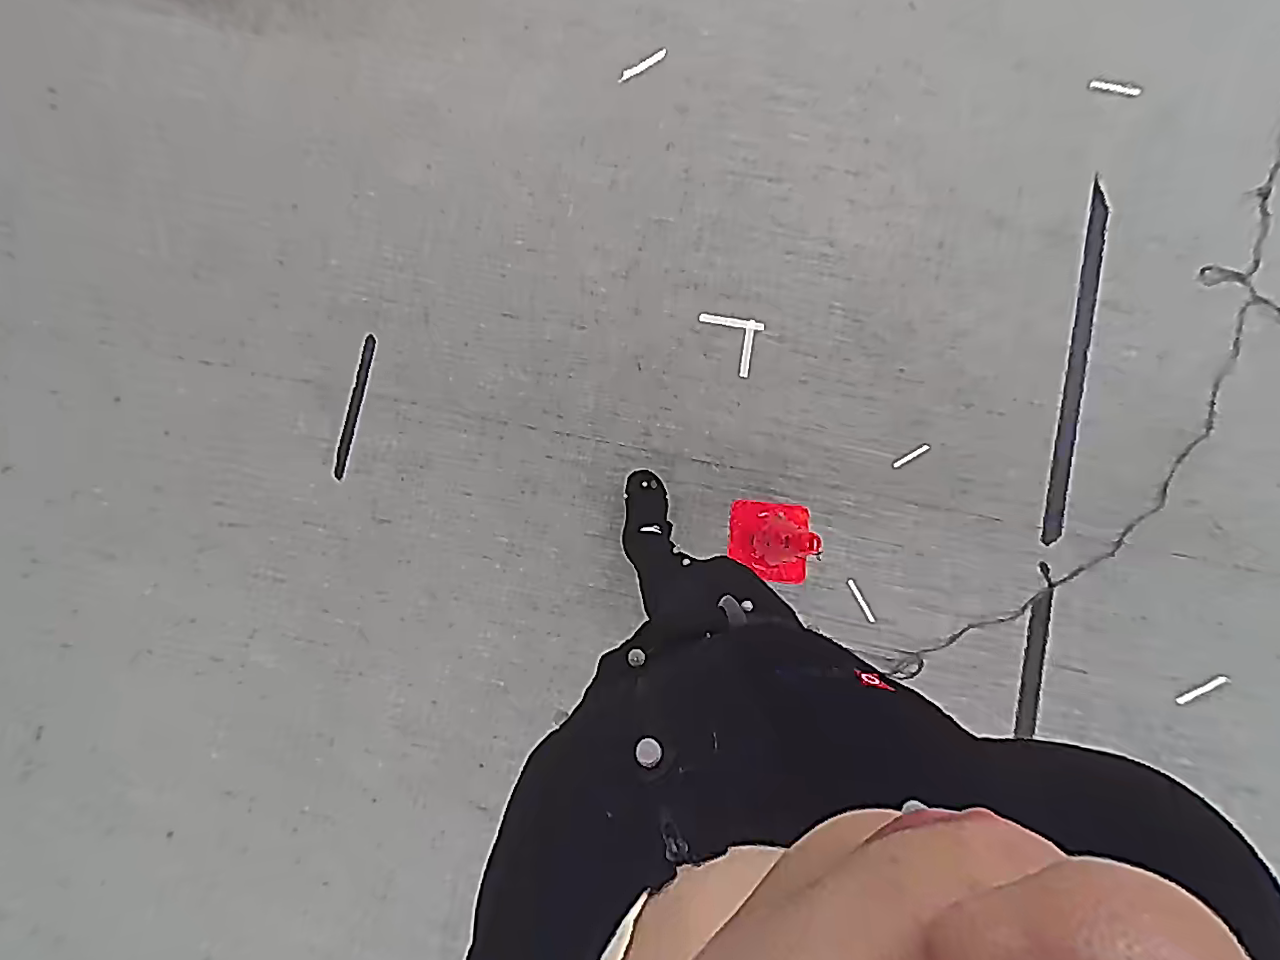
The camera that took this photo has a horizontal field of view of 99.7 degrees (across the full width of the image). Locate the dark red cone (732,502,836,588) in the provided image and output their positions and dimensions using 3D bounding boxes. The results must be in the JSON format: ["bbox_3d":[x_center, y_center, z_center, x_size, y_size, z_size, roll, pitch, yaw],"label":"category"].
[{"bbox_3d":[0.330,0.139,1.162,0.201,0.394,0.202,4,84,-1],"label":"dark red cone"}]
